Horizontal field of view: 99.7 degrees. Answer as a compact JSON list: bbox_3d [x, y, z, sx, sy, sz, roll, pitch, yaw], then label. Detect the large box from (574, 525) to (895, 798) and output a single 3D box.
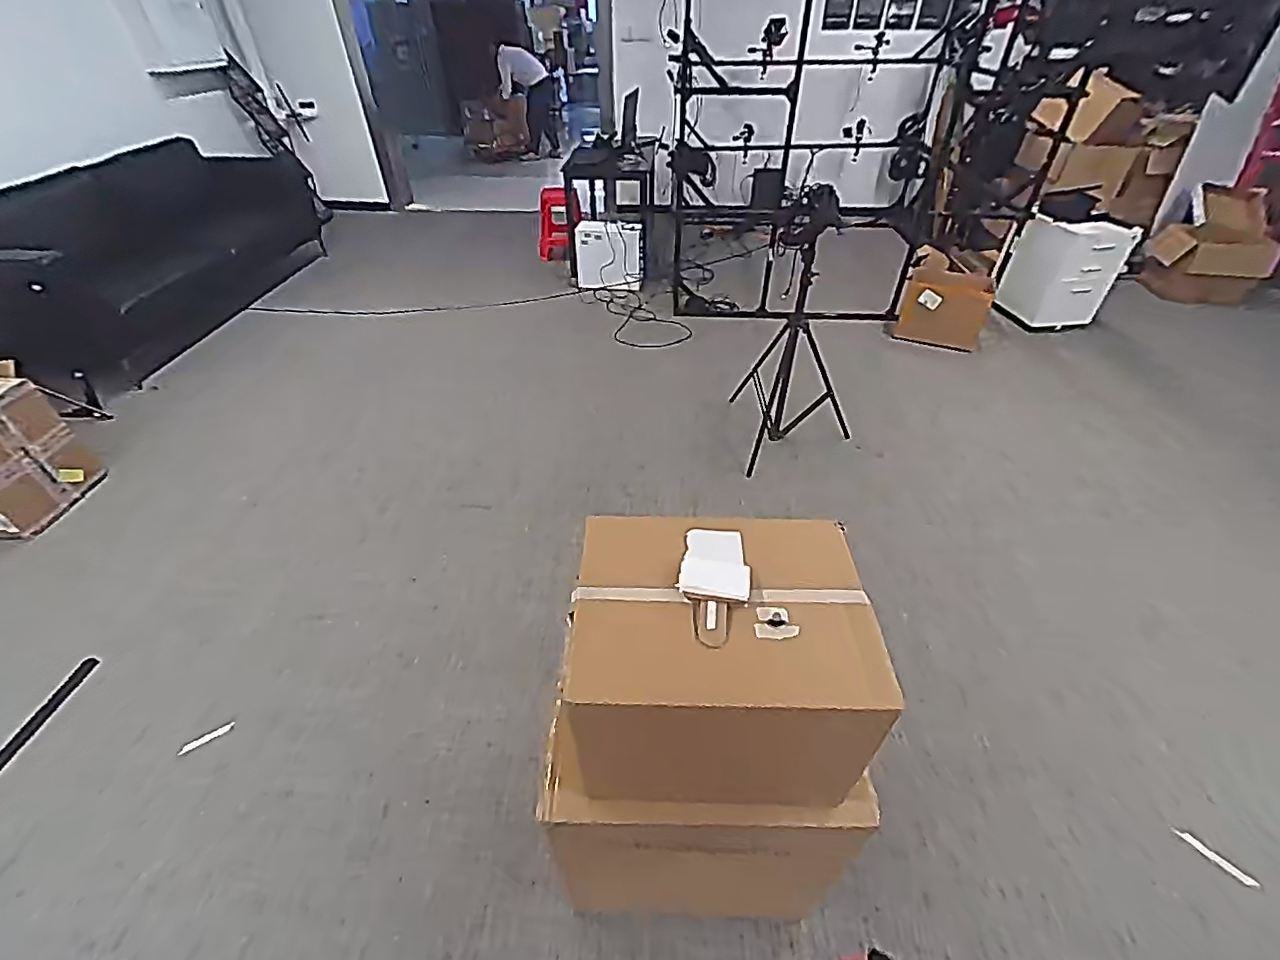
[{"bbox_3d":[0.114,0.288,0.866,0.408,0.320,0.320,1,41,1],"label":"large box"}]
